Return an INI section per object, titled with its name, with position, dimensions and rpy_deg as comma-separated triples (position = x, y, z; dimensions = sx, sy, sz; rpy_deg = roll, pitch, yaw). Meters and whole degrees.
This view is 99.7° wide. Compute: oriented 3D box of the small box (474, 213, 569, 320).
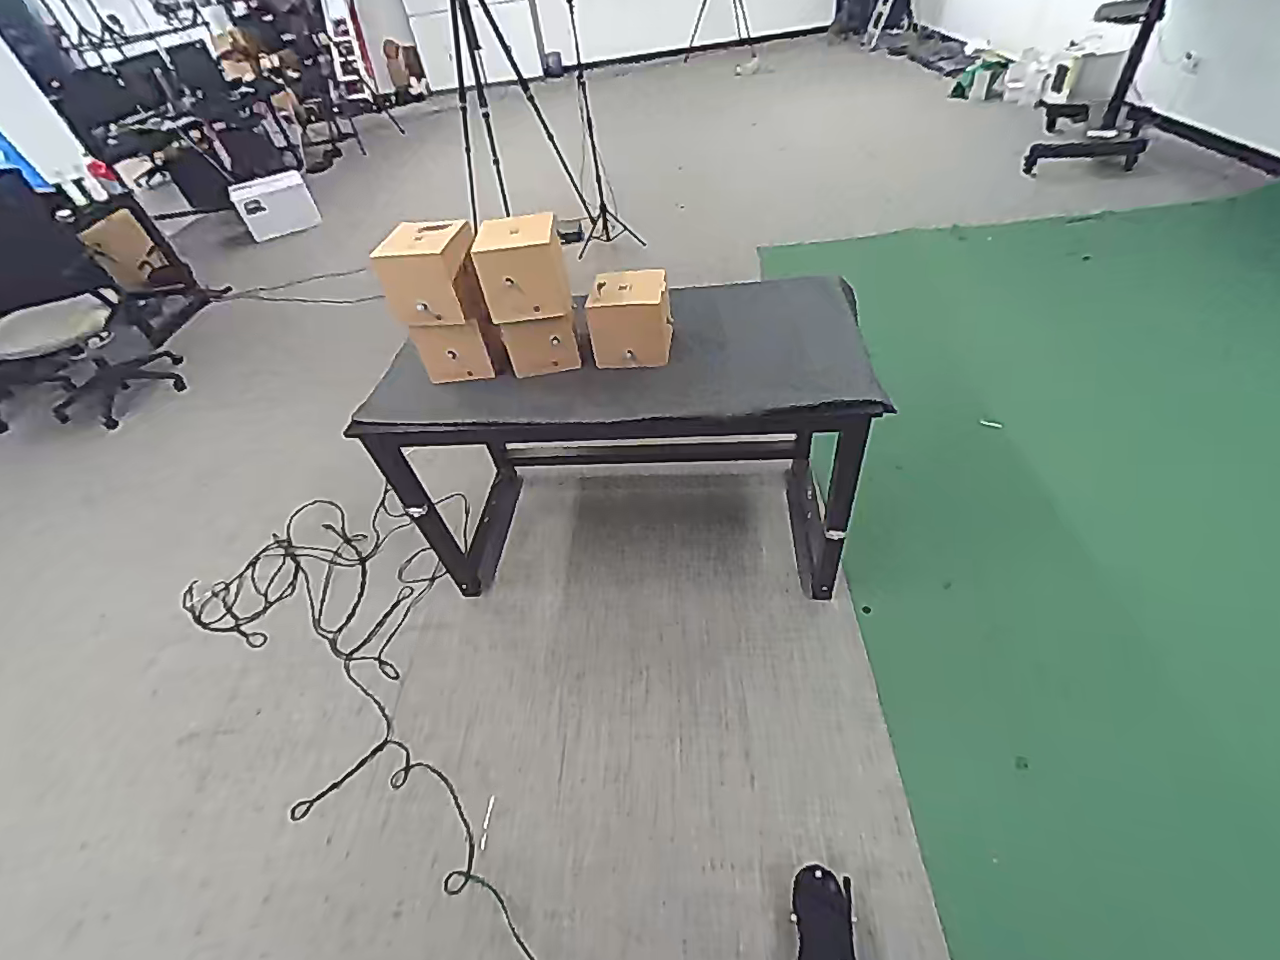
[small box]
position = -0.256, -0.470, 1.211
dimensions = 0.168, 0.176, 0.179
rpy_deg = -7, 45, 1
